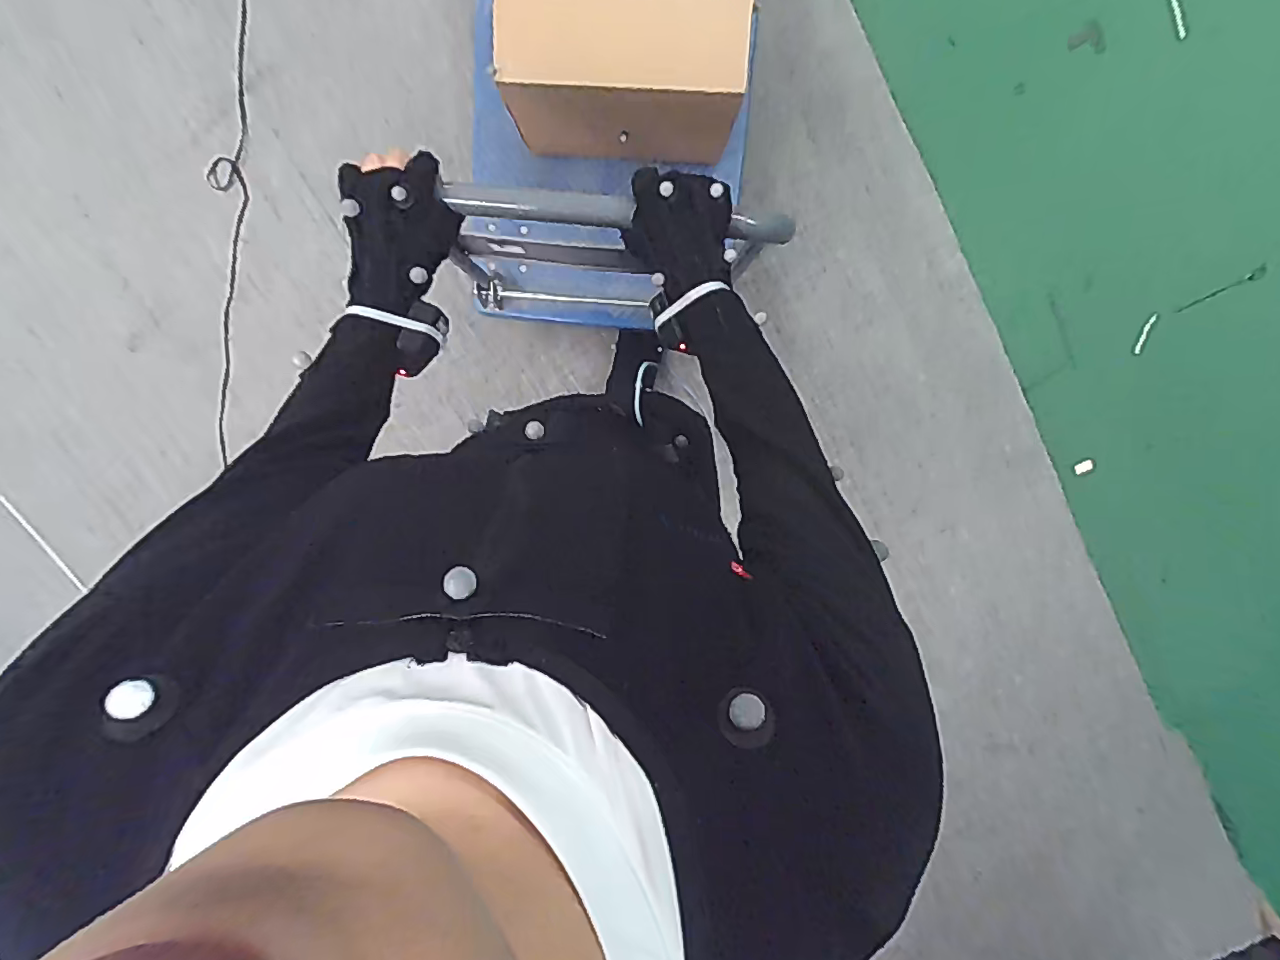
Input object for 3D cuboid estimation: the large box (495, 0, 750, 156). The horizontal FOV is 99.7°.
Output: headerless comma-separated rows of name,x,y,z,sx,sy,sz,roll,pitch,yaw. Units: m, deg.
large box,-0.026,-0.811,0.977,0.408,0.320,0.320,2,101,-1
